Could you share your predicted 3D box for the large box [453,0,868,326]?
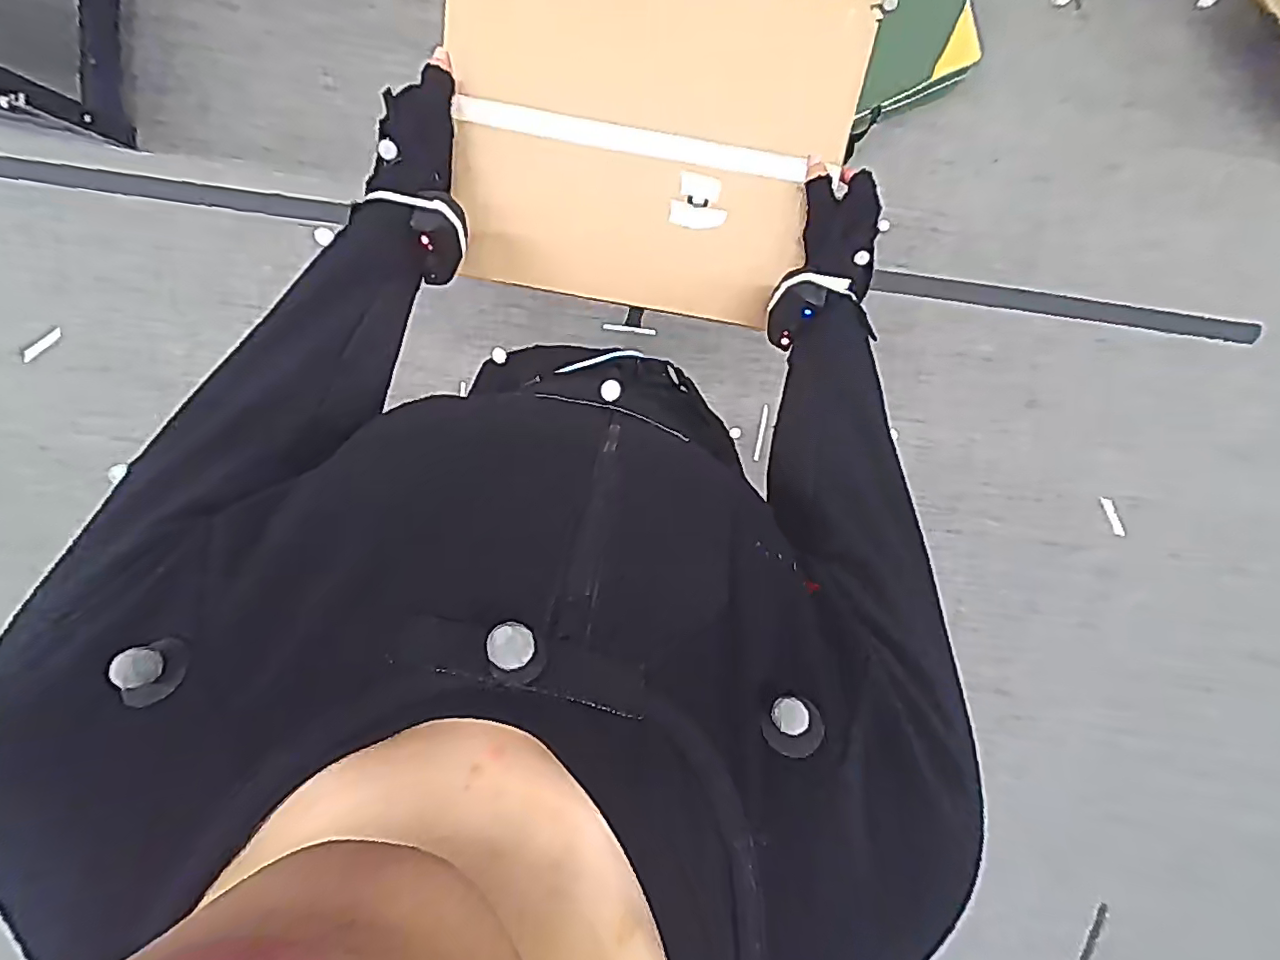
[{"bbox_3d":[0.005,-0.395,0.707,0.408,0.320,0.320,9,109,-3],"label":"large box"}]
